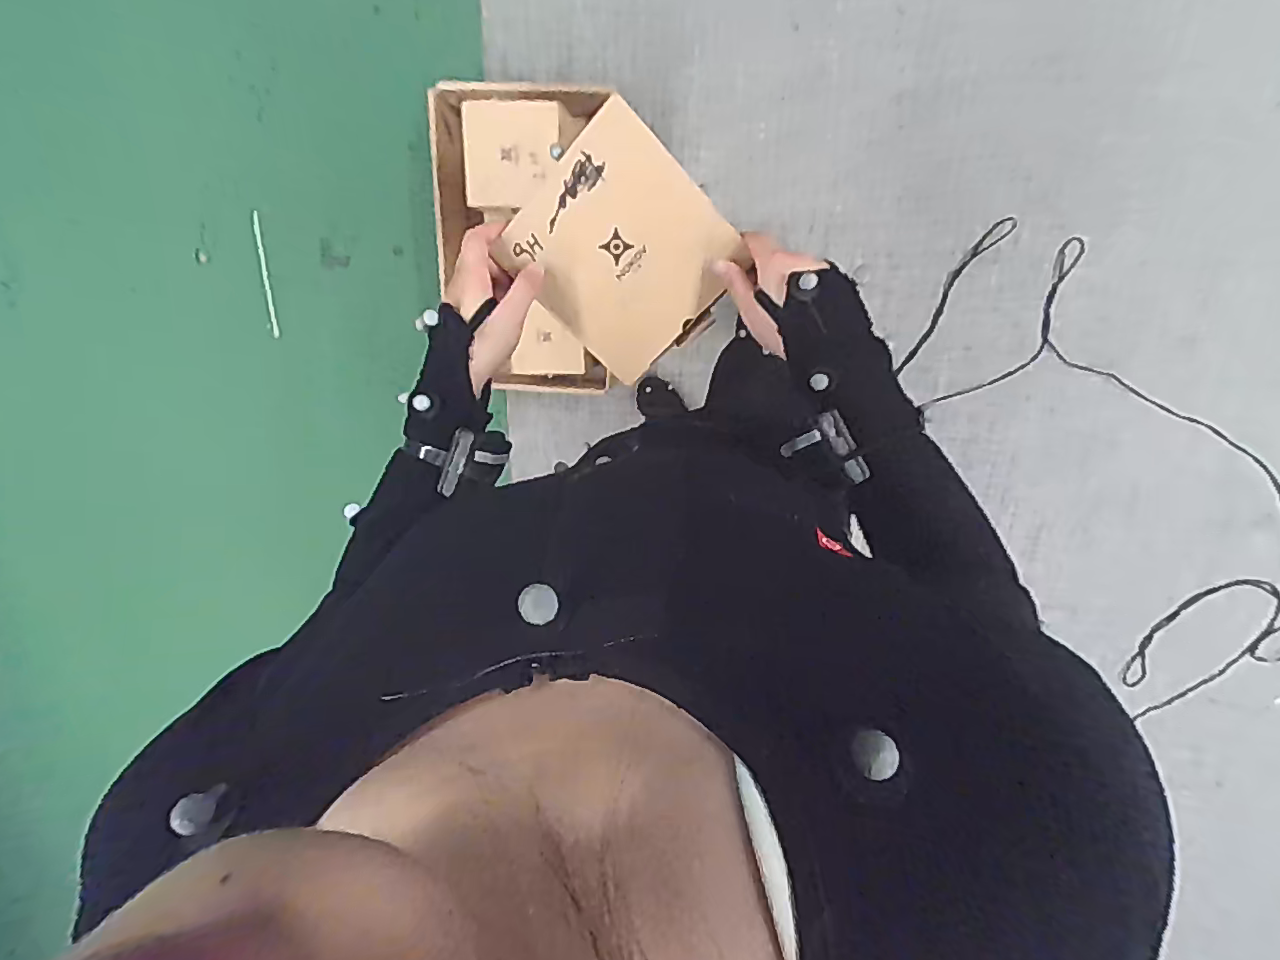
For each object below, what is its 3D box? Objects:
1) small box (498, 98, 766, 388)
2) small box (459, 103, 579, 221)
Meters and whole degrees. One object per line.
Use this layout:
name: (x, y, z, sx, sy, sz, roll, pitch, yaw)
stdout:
small box: (-0.006, -0.226, 0.536, 0.168, 0.176, 0.179, -42, 109, 17)
small box: (-0.220, -0.587, 1.019, 0.179, 0.176, 0.168, 4, 110, 4)
